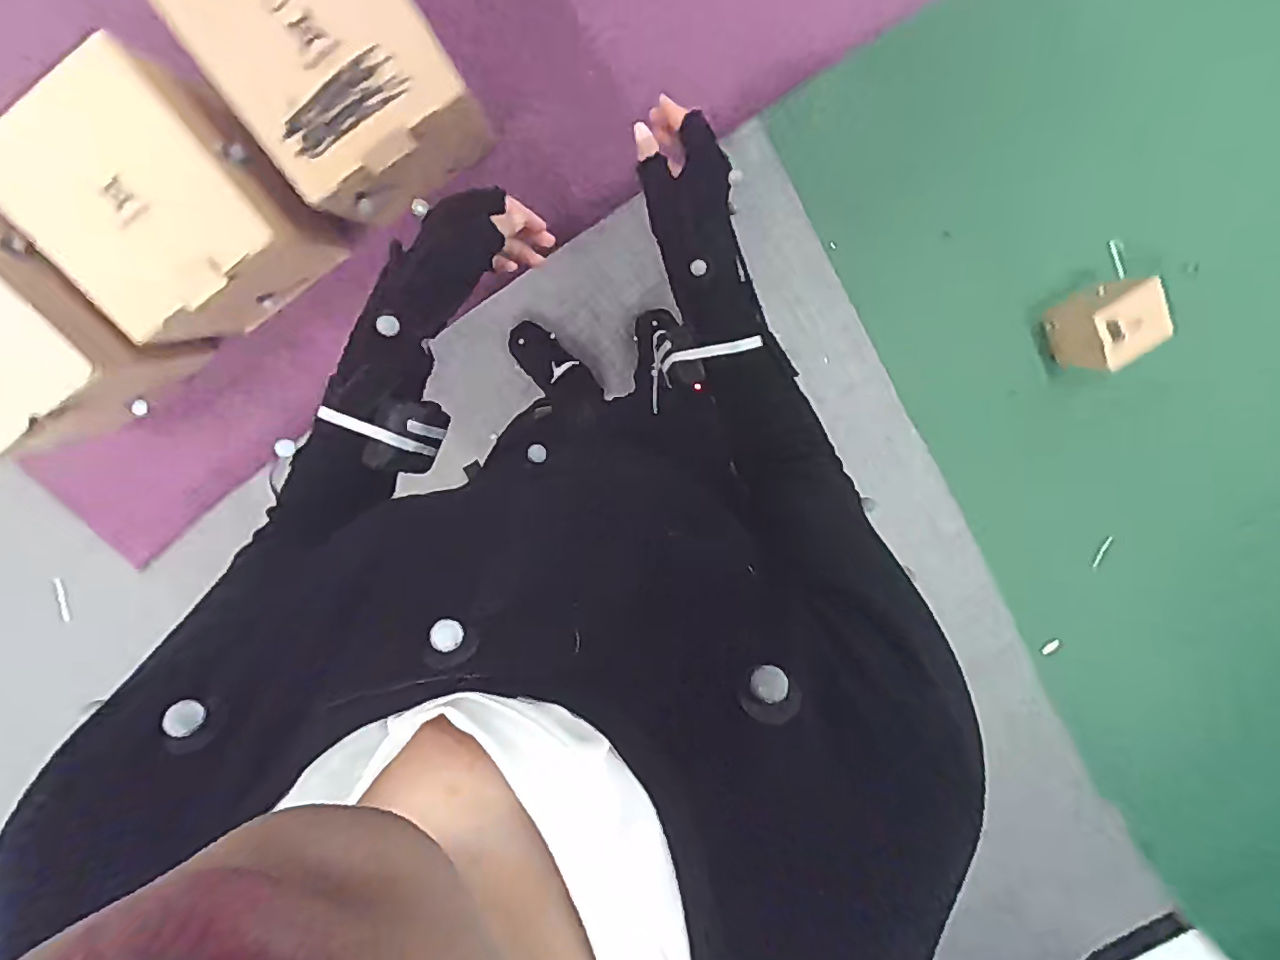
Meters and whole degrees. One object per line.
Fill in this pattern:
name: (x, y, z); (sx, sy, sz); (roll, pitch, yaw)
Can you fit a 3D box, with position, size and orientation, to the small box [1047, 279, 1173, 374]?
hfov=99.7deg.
small box: (1.211, -0.400, 1.411); (0.179, 0.176, 0.168); (-34, 109, 6)
